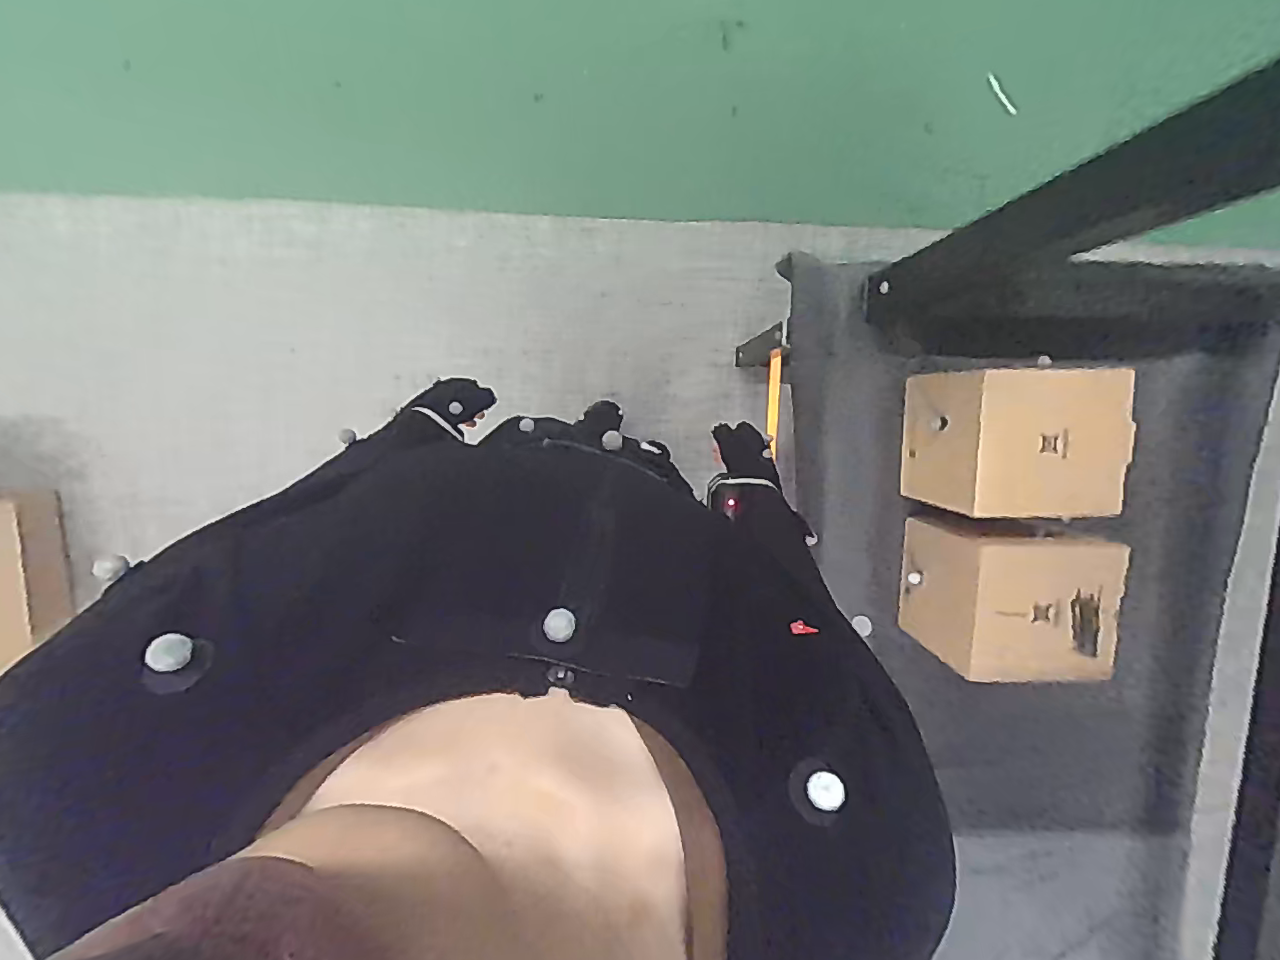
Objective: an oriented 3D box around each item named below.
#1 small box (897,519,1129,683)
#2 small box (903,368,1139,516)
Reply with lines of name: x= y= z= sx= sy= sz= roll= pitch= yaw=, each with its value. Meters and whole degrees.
small box: x=0.467 y=0.146 z=0.701 sx=0.179 sy=0.176 sz=0.168 roll=1 pitch=96 yaw=-2
small box: x=0.456 y=-0.049 z=0.676 sx=0.179 sy=0.176 sz=0.168 roll=0 pitch=98 yaw=-3
